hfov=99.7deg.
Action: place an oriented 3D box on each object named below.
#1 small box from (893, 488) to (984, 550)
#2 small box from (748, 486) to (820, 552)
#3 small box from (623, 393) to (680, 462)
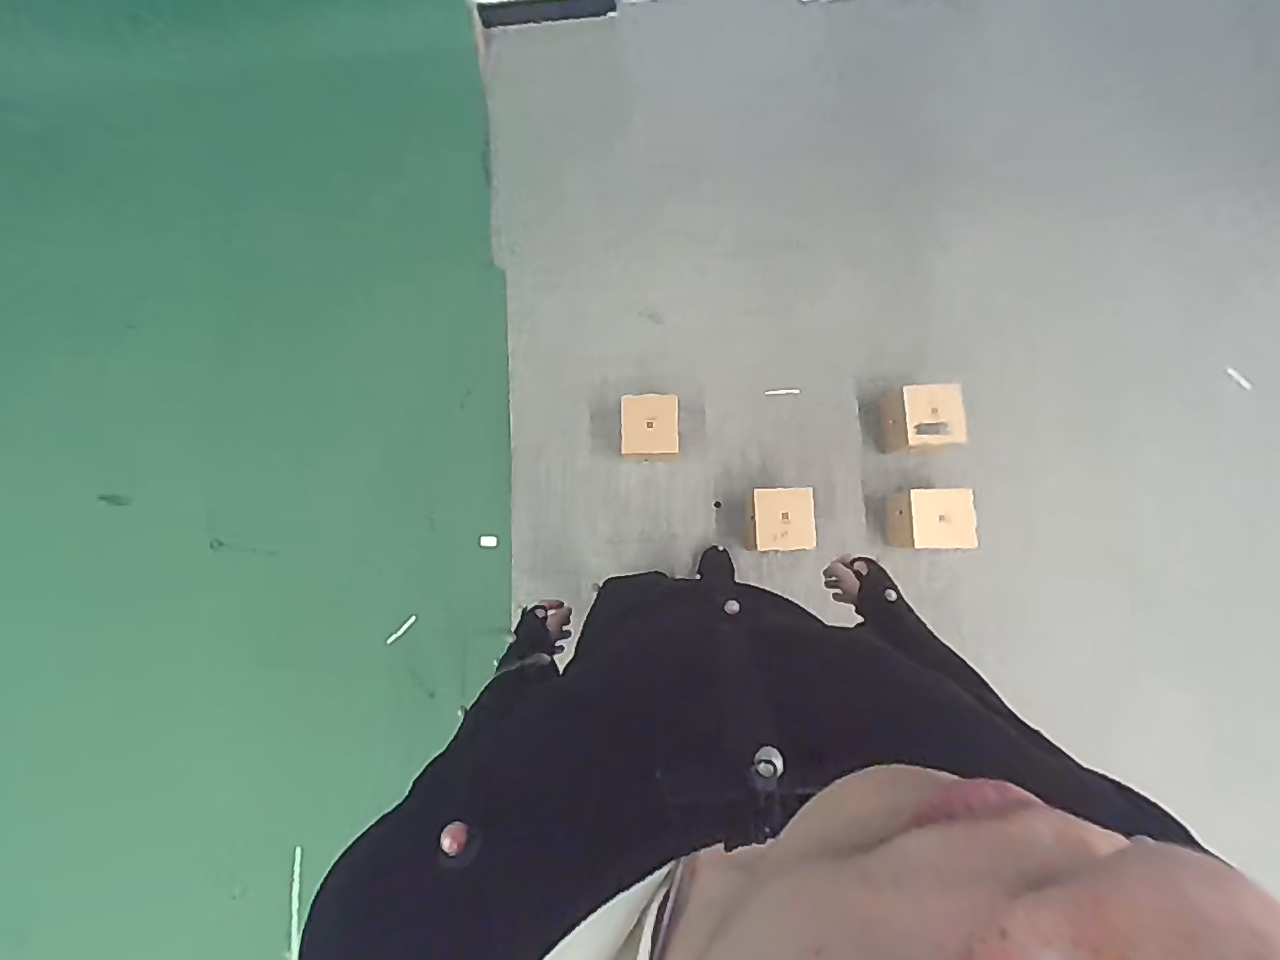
[{"bbox_3d":[0.844,0.115,1.549,0.179,0.176,0.168,-1,82,1],"label":"small box"},{"bbox_3d":[0.409,0.117,1.563,0.168,0.176,0.179,-2,82,2],"label":"small box"},{"bbox_3d":[0.035,-0.153,1.616,0.168,0.176,0.179,-1,83,3],"label":"small box"}]
